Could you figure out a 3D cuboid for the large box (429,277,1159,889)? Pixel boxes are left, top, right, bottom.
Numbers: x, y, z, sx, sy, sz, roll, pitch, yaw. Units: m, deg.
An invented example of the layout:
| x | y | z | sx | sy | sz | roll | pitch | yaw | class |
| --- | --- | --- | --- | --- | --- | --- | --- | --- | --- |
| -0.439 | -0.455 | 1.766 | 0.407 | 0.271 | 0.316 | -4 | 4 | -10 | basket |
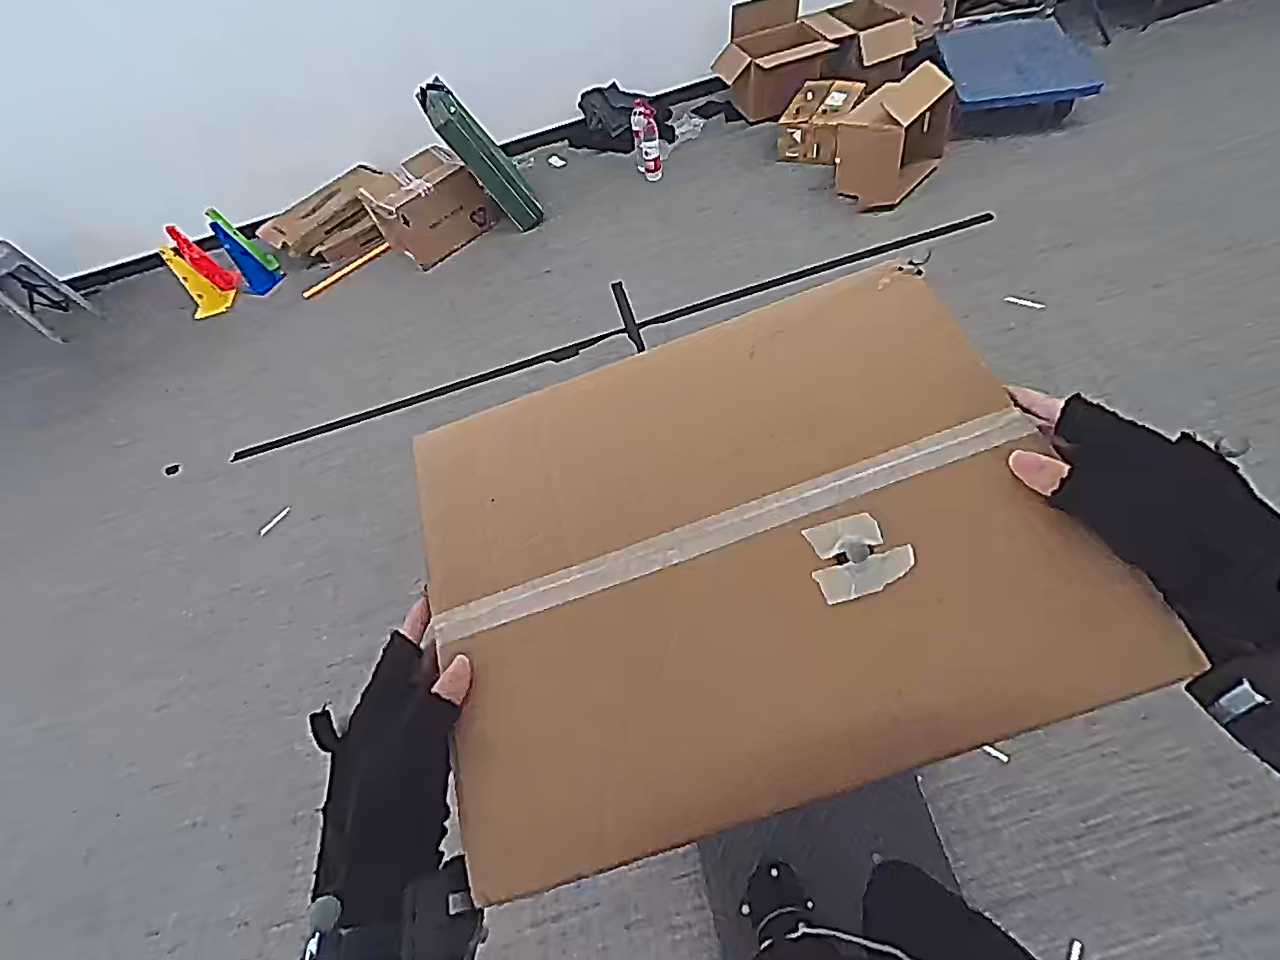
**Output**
| x | y | z | sx | sy | sz | roll | pitch | yaw | class |
| --- | --- | --- | --- | --- | --- | --- | --- | --- | --- |
| 0.083 | 0.096 | 0.500 | 0.408 | 0.320 | 0.320 | -20 | 65 | 2 | large box |
